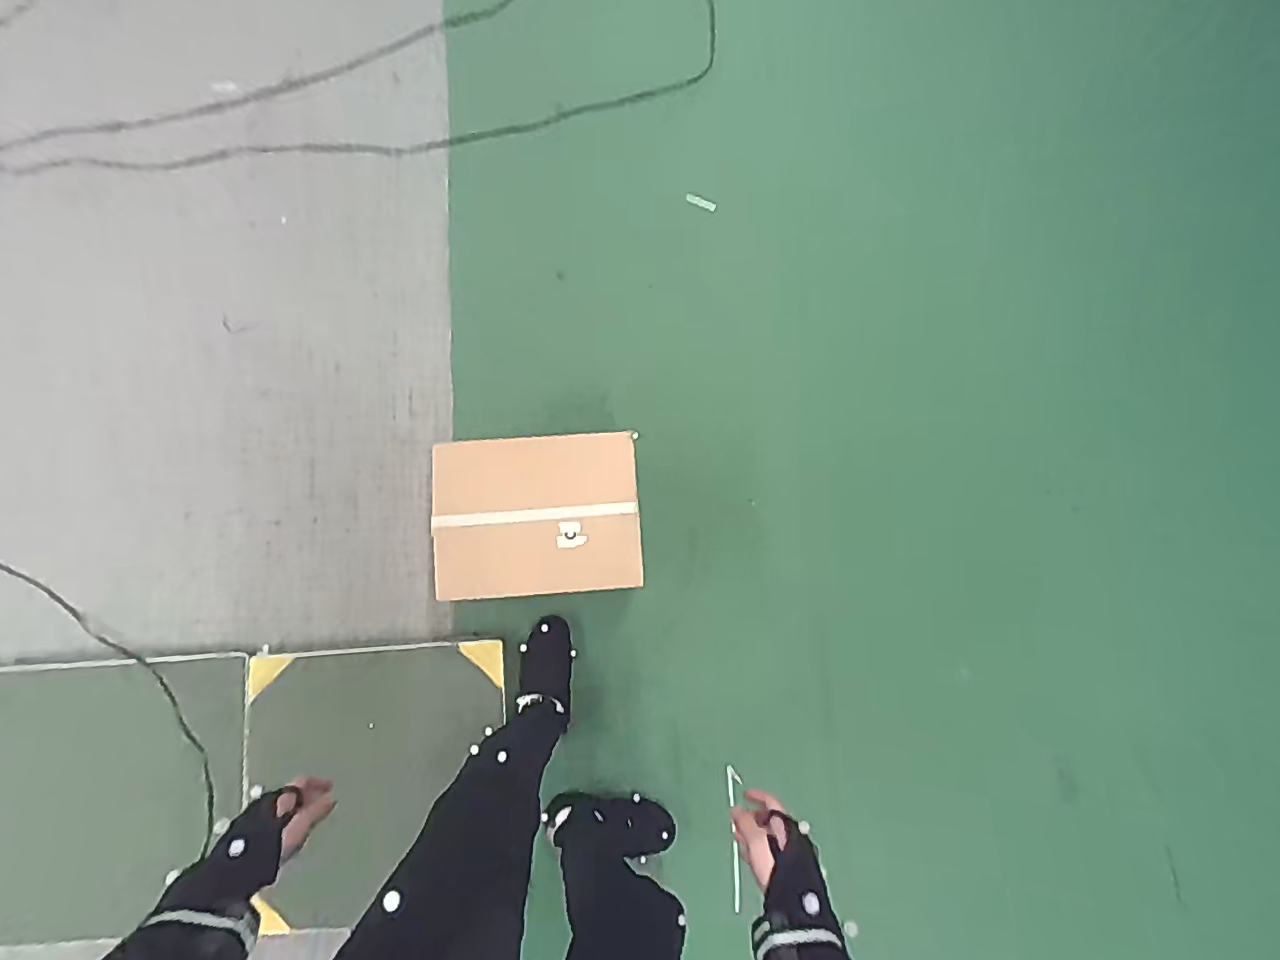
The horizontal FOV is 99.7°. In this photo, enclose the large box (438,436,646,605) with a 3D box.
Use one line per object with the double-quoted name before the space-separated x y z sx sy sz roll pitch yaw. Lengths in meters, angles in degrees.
"large box" -0.206 0.098 1.222 0.408 0.320 0.320 -4 82 -3
